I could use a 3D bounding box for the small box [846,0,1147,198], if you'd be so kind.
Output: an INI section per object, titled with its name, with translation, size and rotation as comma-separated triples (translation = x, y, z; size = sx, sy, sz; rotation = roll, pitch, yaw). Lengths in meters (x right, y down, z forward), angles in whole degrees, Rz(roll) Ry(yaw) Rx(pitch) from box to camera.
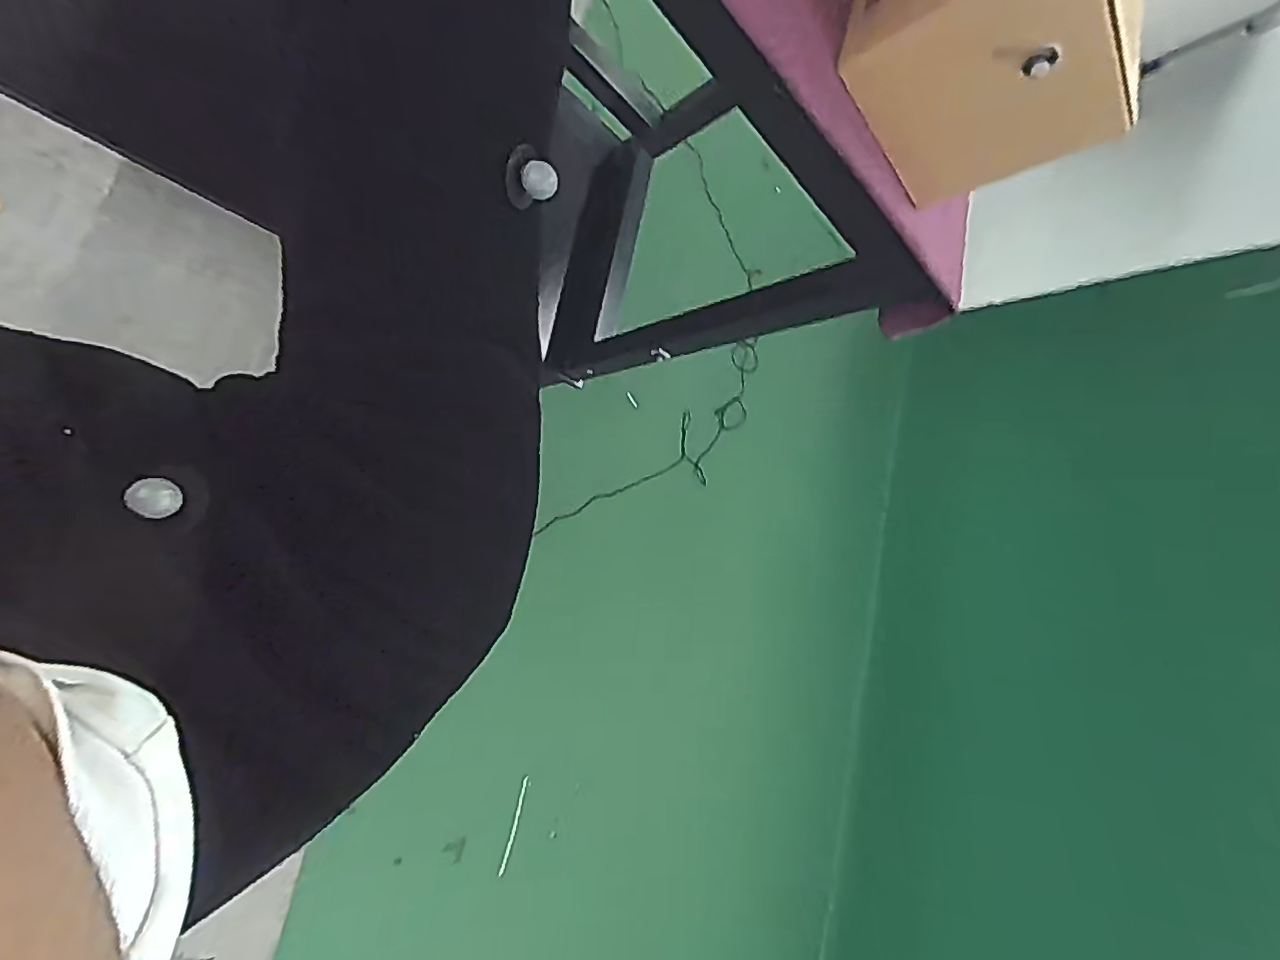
[small box]
translation = 0.295, -0.378, 0.449
size = 0.179, 0.176, 0.168
rotation = 28, 72, -38
